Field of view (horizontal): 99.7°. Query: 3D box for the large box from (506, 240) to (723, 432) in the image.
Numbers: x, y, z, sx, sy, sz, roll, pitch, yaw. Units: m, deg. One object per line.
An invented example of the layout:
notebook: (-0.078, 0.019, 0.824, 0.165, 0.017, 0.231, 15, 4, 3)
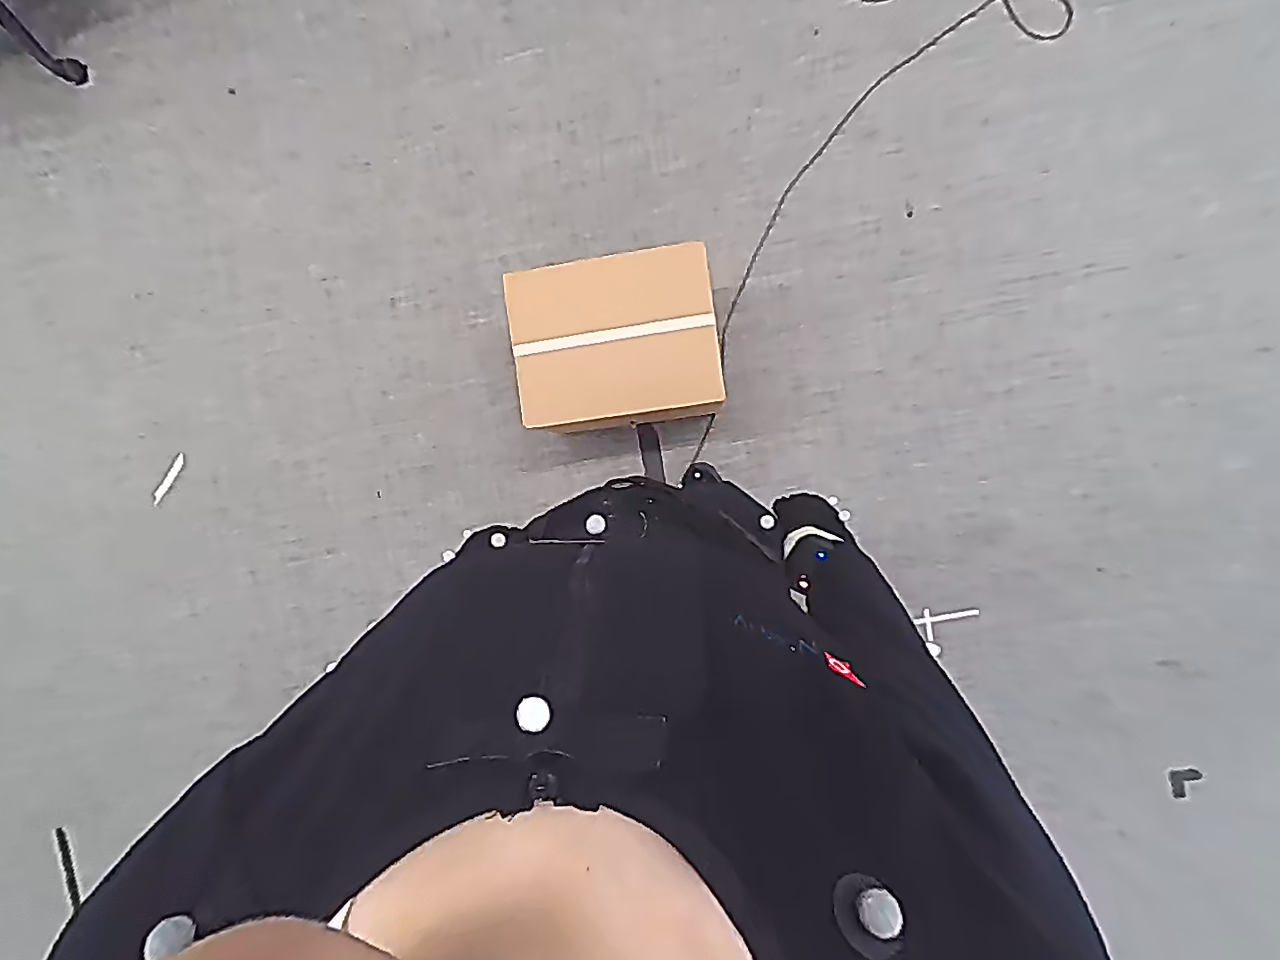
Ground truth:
large box: (-0.042, -0.293, 1.215, 0.408, 0.320, 0.320, -7, 93, 5)
